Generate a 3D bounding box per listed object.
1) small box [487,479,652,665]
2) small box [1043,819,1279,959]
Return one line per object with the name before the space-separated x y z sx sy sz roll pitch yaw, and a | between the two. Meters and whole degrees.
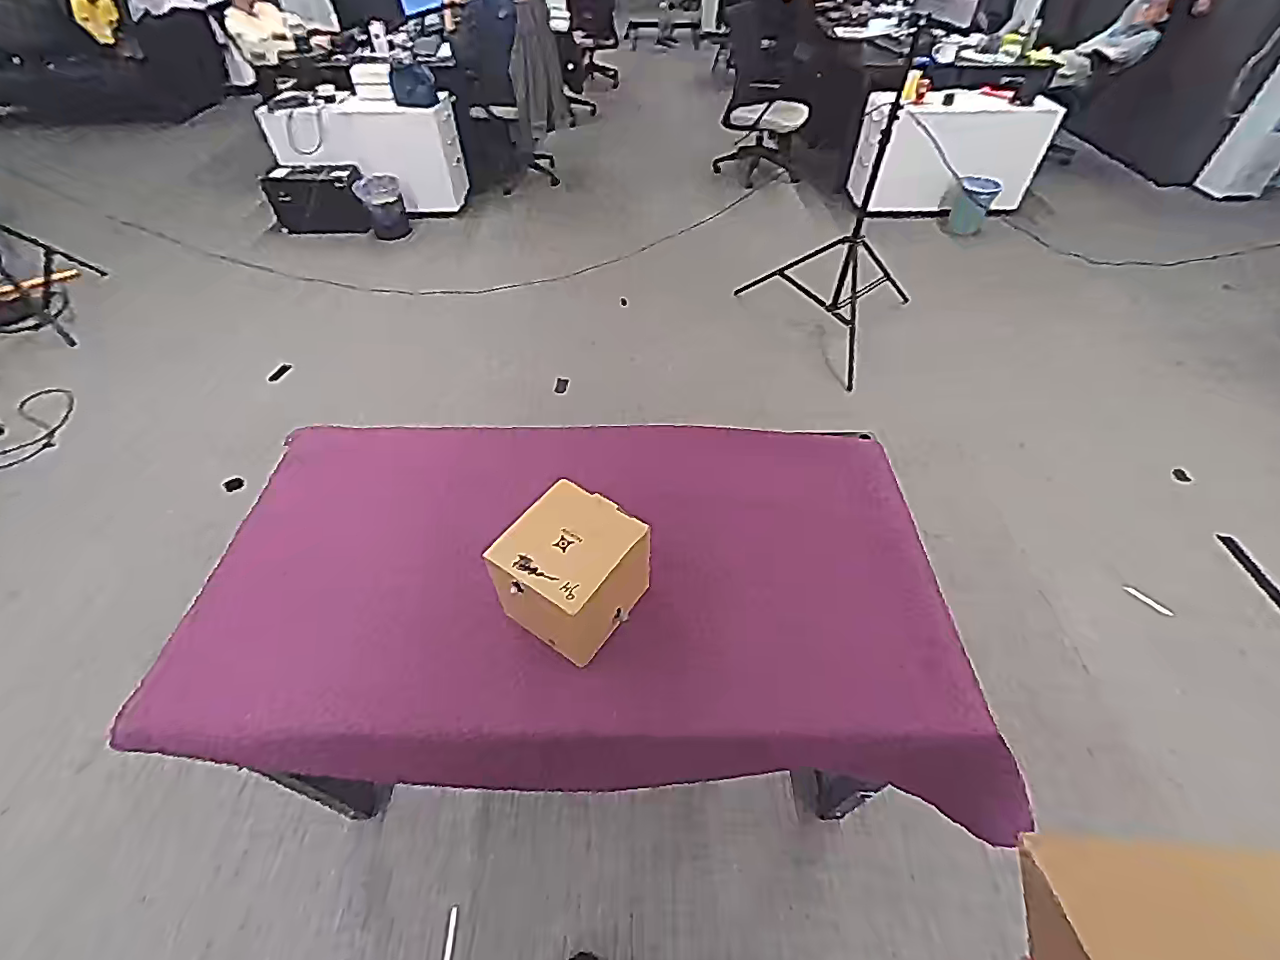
small box | -0.098 0.138 0.813 0.168 0.176 0.179 27 53 23
small box | 0.286 0.271 0.210 0.168 0.176 0.179 -6 2 18
